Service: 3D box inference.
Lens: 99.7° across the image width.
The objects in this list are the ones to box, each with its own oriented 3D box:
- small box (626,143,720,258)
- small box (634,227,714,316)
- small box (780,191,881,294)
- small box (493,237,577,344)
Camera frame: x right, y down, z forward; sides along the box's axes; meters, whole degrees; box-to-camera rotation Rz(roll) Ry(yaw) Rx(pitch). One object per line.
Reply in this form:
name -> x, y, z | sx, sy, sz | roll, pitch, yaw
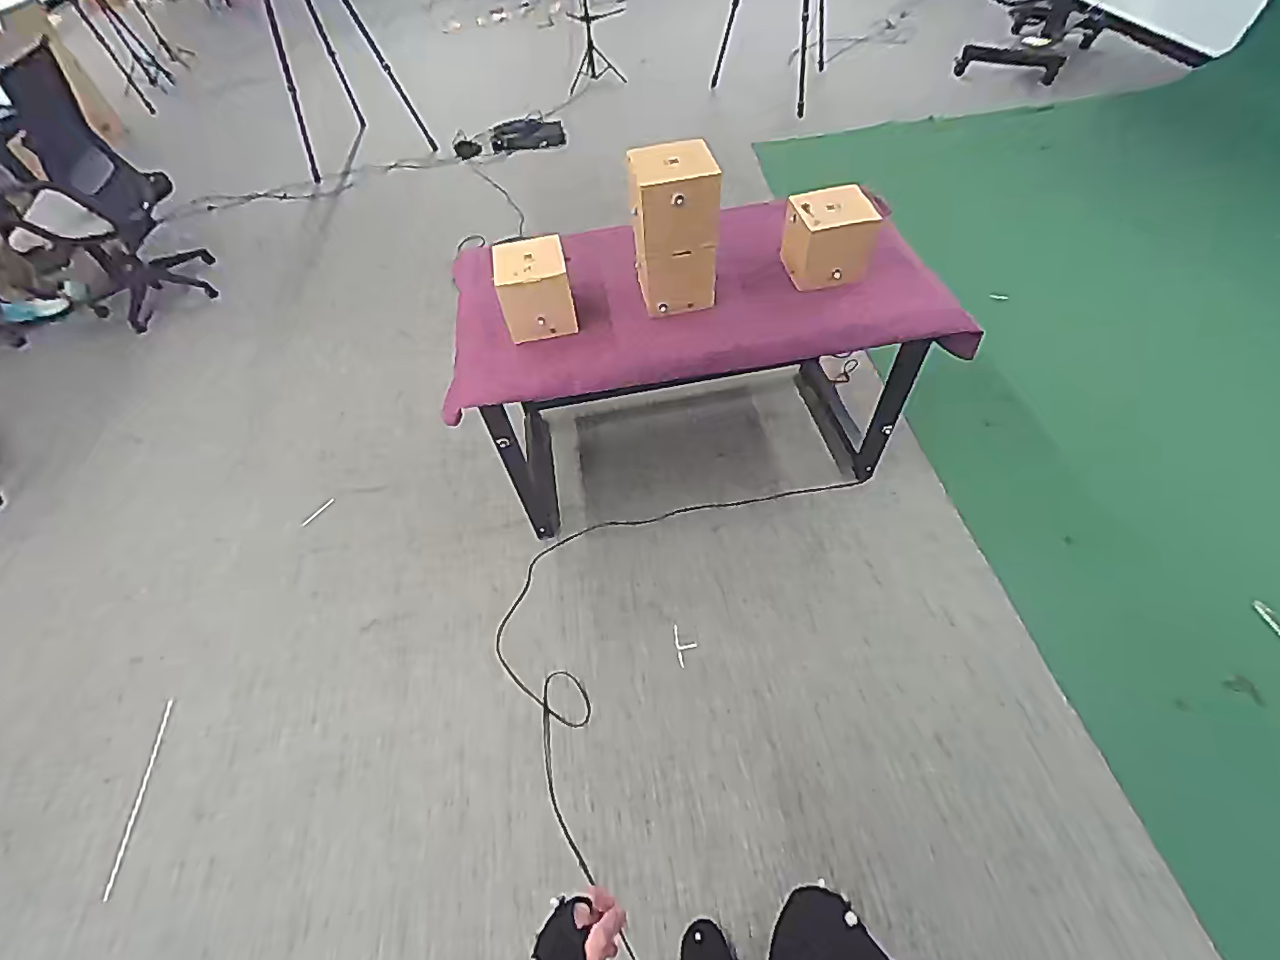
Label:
small box -> 0.073, -0.620, 1.210 | 0.179, 0.176, 0.168 | -10, 55, -3
small box -> 0.084, -0.527, 1.344 | 0.168, 0.176, 0.179 | -11, 53, -3
small box -> 0.469, -0.594, 1.360 | 0.179, 0.176, 0.168 | -10, 54, -2
small box -> -0.256, -0.461, 1.323 | 0.168, 0.176, 0.179 | -12, 54, -3
